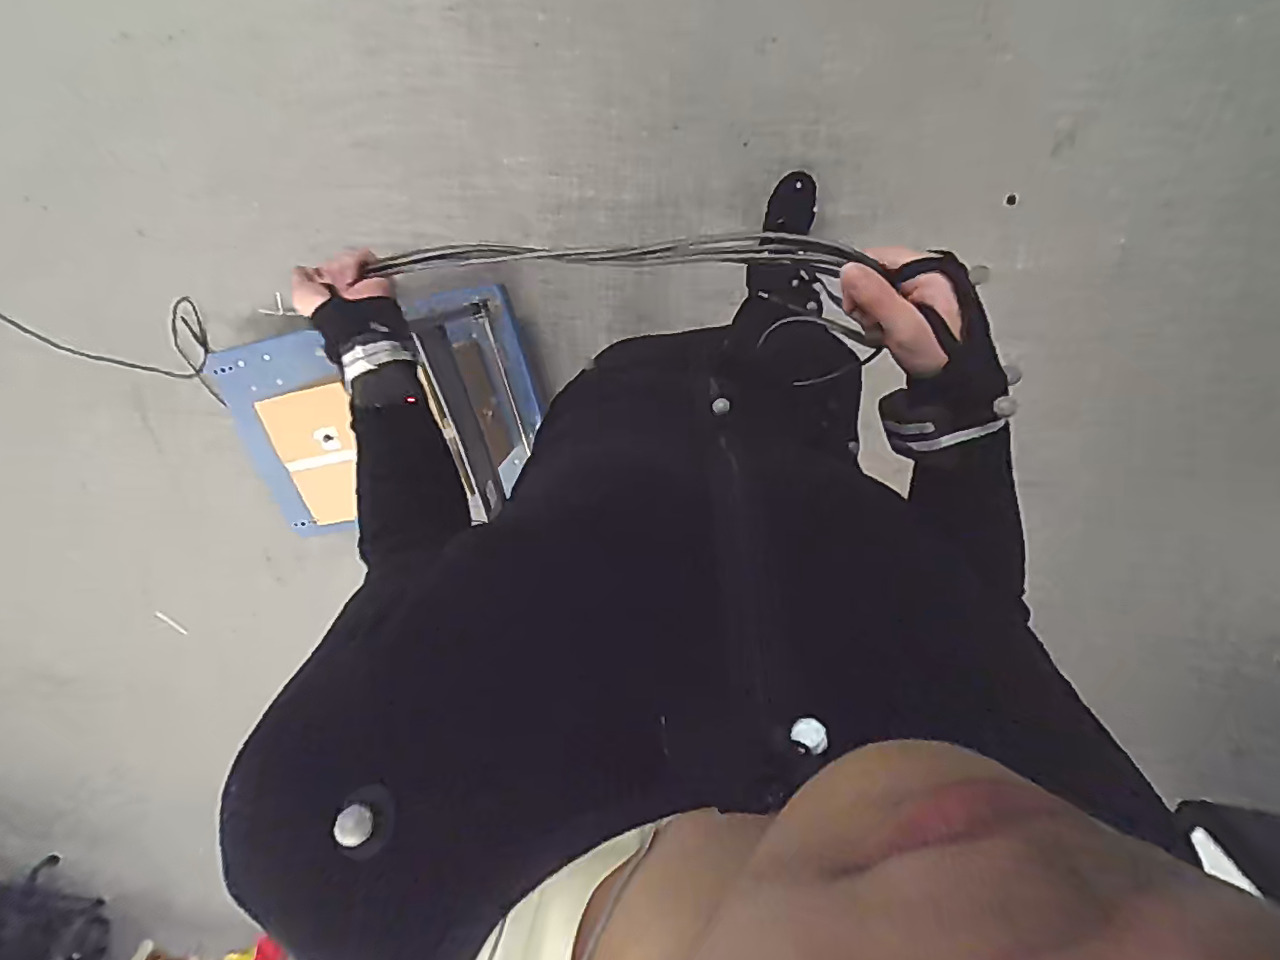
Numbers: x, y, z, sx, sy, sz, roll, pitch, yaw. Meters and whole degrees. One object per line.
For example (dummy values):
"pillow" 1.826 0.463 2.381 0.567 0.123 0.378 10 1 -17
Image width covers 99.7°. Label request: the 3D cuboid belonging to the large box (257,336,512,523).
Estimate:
"large box" -0.584 -0.132 1.314 0.408 0.320 0.320 -10 112 11
